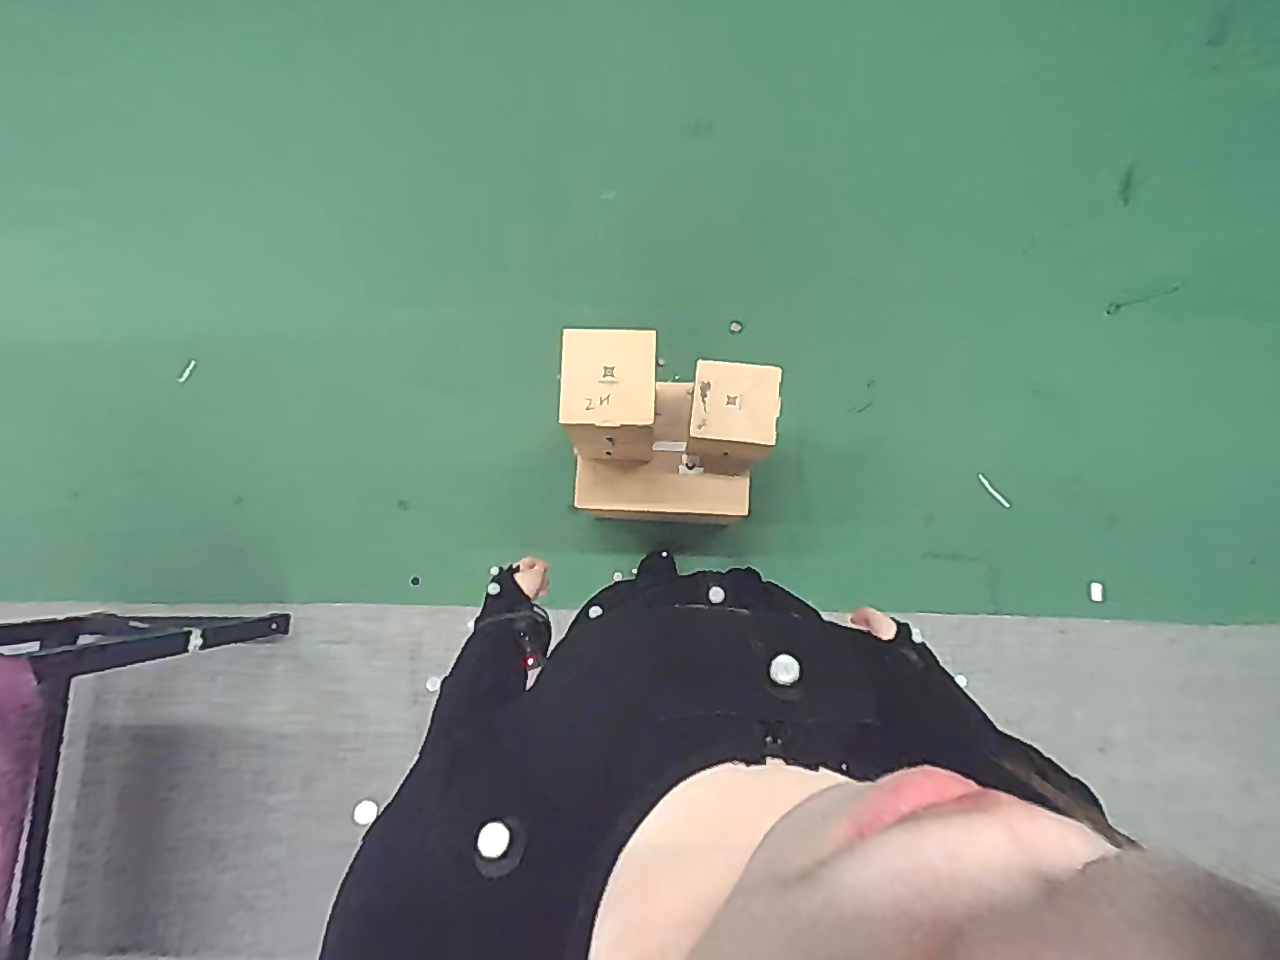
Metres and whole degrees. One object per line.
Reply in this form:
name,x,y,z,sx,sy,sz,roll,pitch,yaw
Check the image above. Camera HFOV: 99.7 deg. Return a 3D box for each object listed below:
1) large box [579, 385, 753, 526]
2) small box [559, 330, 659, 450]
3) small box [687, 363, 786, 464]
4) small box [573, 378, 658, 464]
large box,0.063,-0.048,1.396,0.408,0.320,0.320,2,82,2
small box,-0.051,-0.160,1.005,0.168,0.176,0.179,2,81,2
small box,0.200,-0.135,1.156,0.179,0.176,0.168,7,81,3
small box,-0.048,-0.138,1.168,0.168,0.176,0.179,3,81,1
